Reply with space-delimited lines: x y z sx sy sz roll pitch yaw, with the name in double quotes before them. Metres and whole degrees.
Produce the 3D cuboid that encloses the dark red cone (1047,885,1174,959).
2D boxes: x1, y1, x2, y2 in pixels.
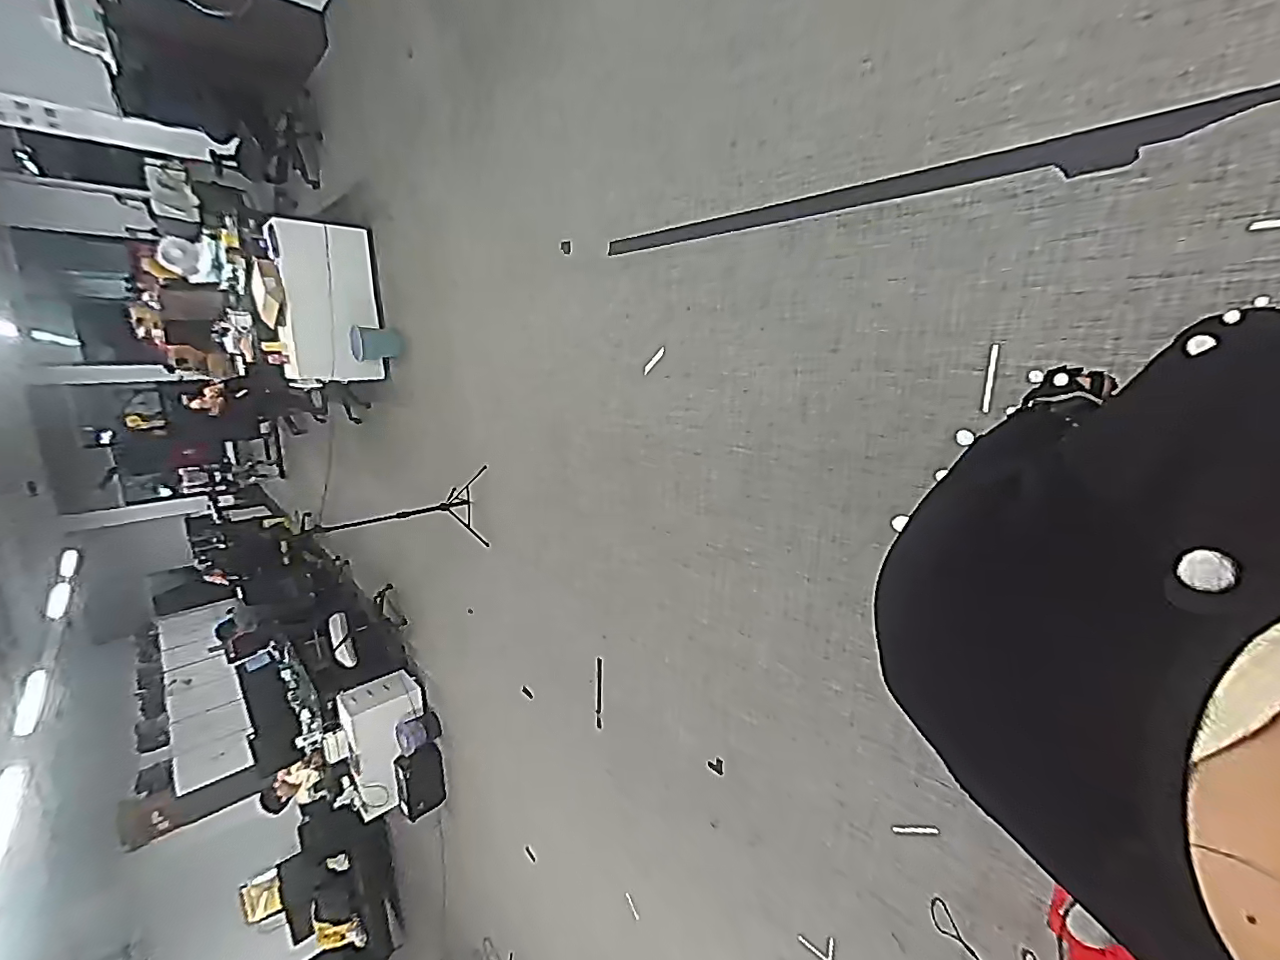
"dark red cone" 0.909 1.057 1.089 0.201 0.394 0.202 15 110 47
